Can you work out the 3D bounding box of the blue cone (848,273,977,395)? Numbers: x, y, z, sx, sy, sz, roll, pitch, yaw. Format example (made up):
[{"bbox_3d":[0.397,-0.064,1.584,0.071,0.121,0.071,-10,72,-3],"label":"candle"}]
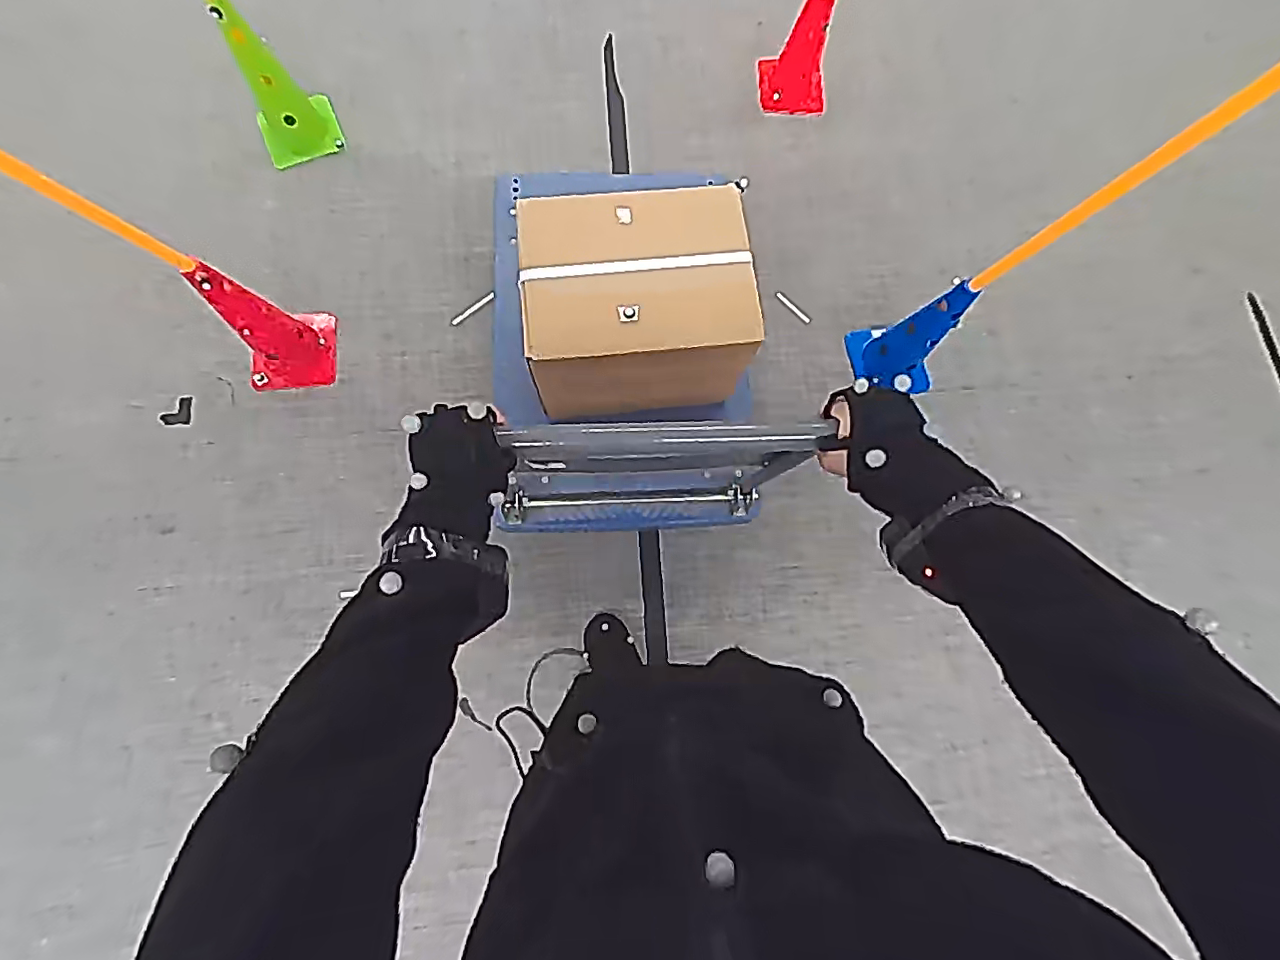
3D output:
[{"bbox_3d":[0.683,-0.364,1.309,0.193,0.380,0.192,-8,76,-6],"label":"blue cone"}]

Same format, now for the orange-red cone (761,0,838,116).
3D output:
[{"bbox_3d":[0.480,-1.236,1.484,0.199,0.360,0.198,3,77,-4],"label":"orange-red cone"}]
